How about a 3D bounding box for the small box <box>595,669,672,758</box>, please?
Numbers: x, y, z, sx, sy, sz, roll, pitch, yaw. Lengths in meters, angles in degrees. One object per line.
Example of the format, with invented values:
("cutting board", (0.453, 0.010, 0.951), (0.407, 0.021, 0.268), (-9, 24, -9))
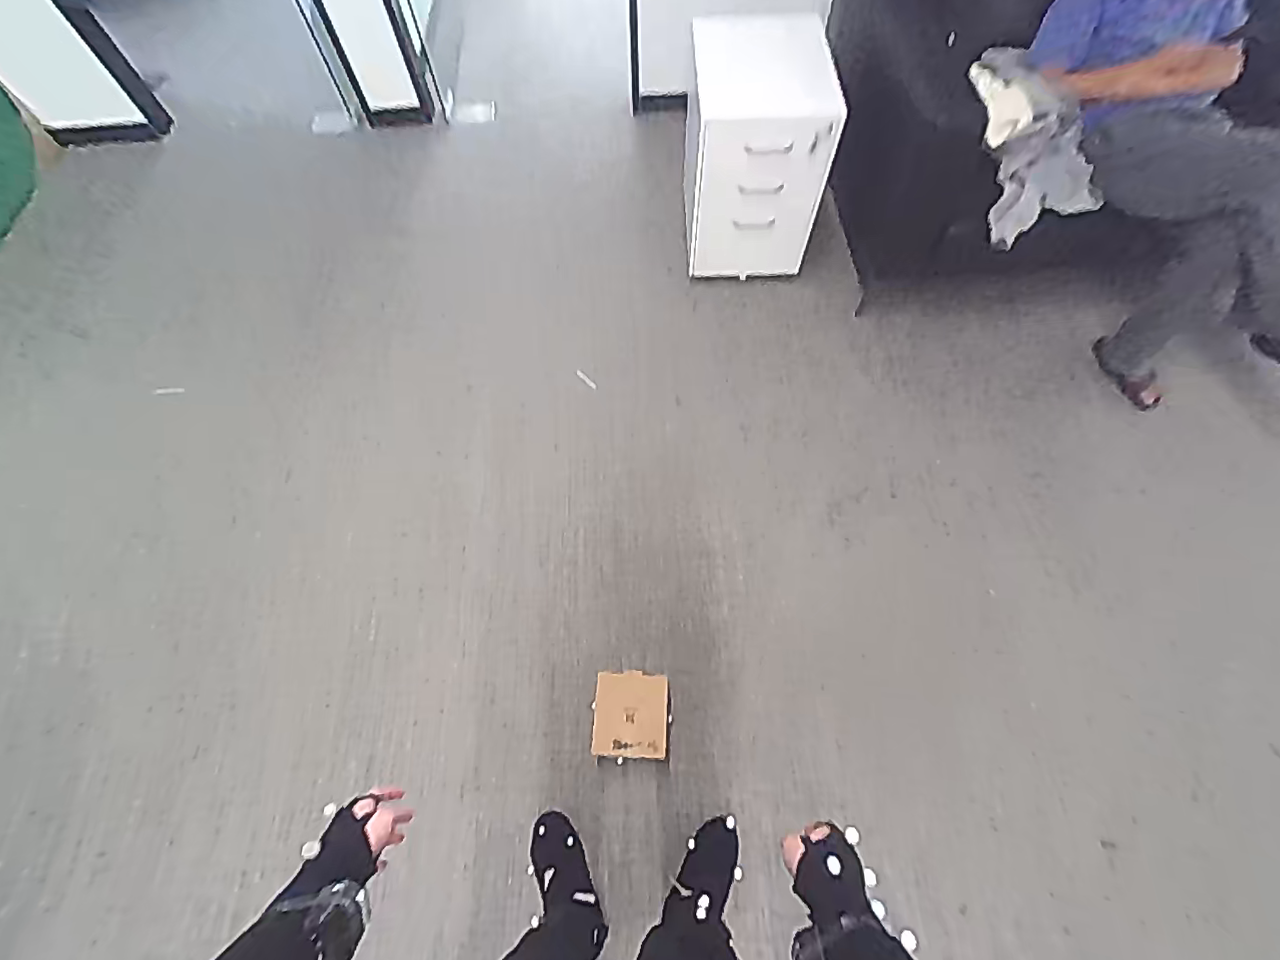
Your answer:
("small box", (-0.014, 0.561, 1.294), (0.168, 0.176, 0.179), (3, 63, 2))
